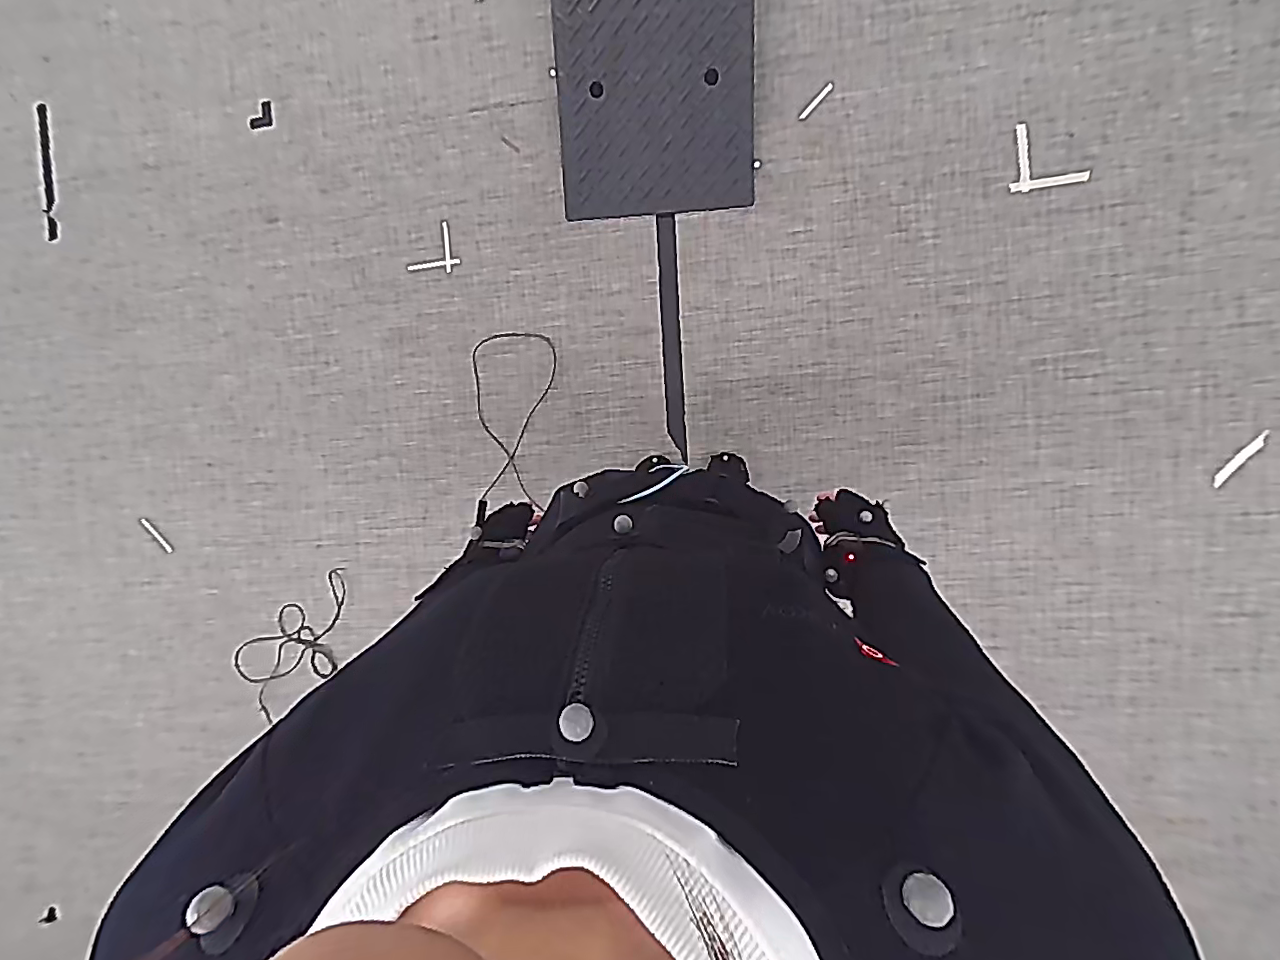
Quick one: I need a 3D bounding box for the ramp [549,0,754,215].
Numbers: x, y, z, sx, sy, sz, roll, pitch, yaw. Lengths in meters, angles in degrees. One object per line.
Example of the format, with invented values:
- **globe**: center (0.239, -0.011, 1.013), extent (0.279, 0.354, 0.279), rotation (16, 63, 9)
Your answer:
- **ramp**: center (0.021, -1.189, 1.281), extent (0.509, 0.206, 0.991), rotation (-3, 94, 7)
